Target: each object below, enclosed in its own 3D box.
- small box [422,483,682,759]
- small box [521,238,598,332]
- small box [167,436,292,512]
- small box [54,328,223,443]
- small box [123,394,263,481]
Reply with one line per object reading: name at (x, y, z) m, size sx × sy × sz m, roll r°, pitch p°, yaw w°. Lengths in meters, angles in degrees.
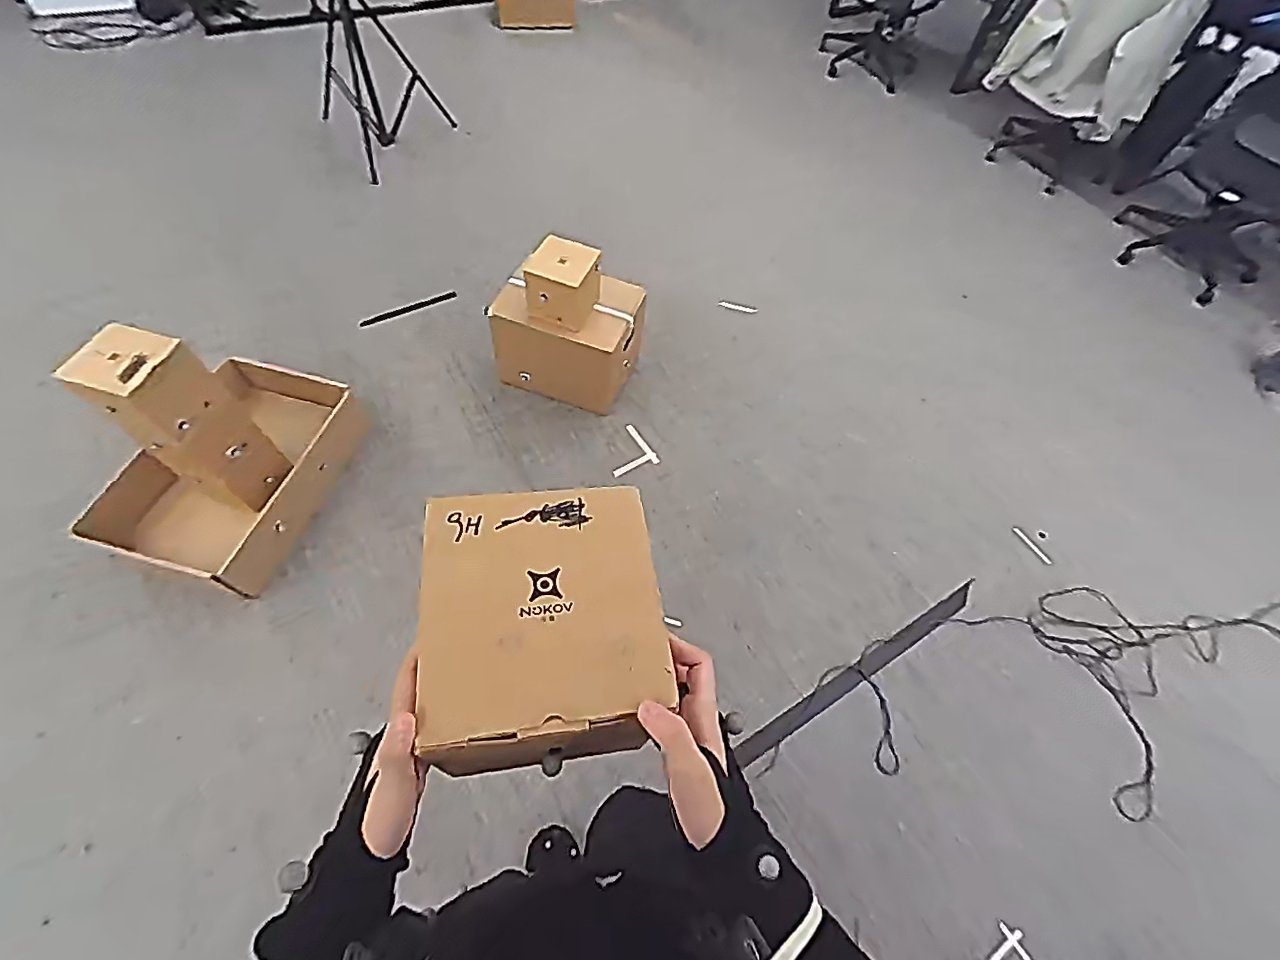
small box at (-0.074, 0.122, 0.447) m, size 0.168 × 0.176 × 0.179 m, roll -3°, pitch 58°, yaw -13°
small box at (-0.228, -0.565, 1.580) m, size 0.168 × 0.176 × 0.179 m, roll 19°, pitch 59°, yaw 6°
small box at (-1.107, -0.032, 1.473) m, size 0.179 × 0.176 × 0.168 m, roll 17°, pitch 59°, yaw 5°
small box at (-1.087, -0.202, 1.194) m, size 0.179 × 0.176 × 0.168 m, roll 14°, pitch 59°, yaw 5°
small box at (-1.095, -0.118, 1.335) m, size 0.179 × 0.176 × 0.168 m, roll 16°, pitch 59°, yaw 4°
